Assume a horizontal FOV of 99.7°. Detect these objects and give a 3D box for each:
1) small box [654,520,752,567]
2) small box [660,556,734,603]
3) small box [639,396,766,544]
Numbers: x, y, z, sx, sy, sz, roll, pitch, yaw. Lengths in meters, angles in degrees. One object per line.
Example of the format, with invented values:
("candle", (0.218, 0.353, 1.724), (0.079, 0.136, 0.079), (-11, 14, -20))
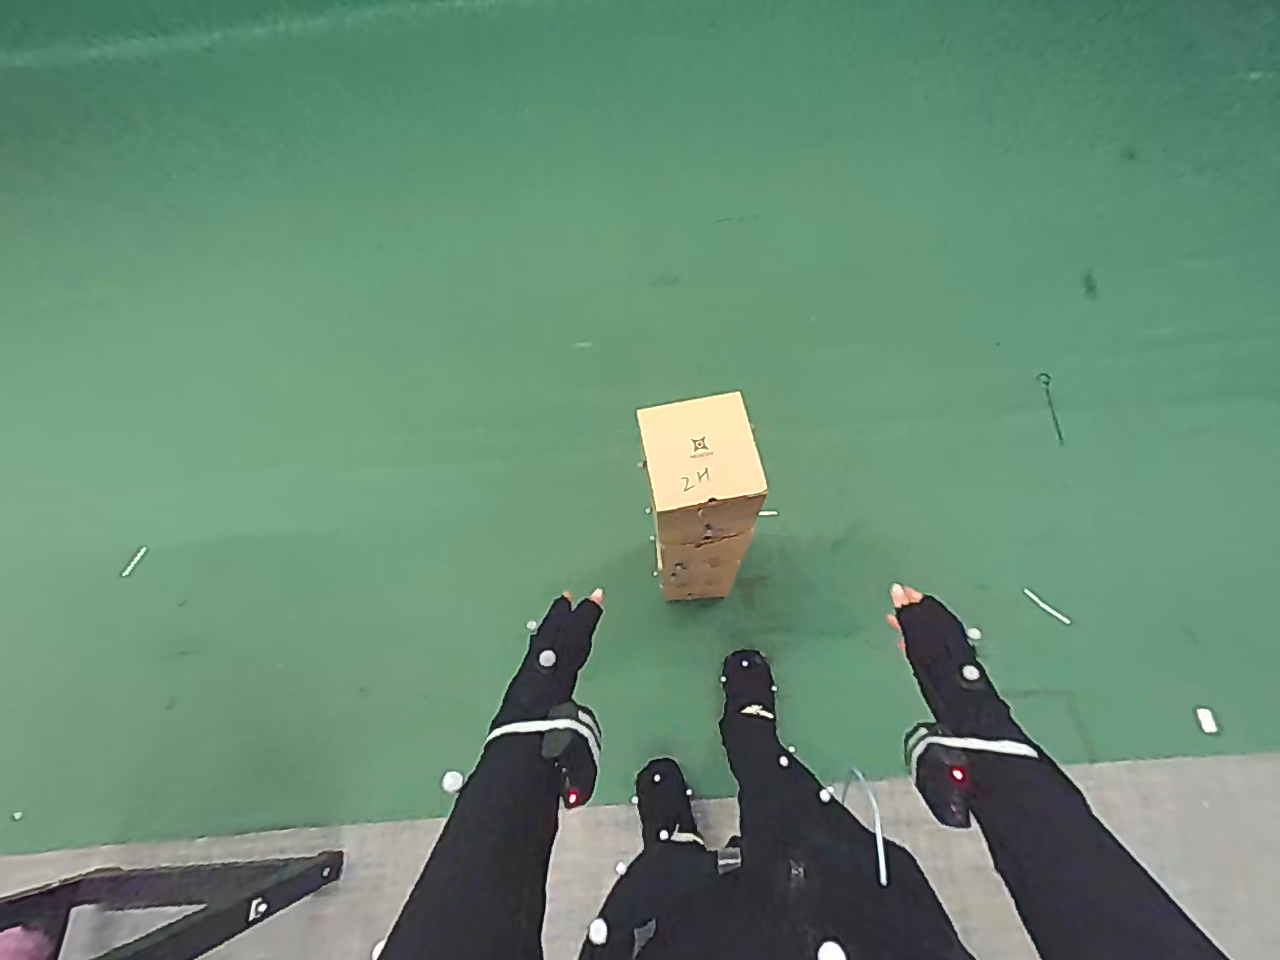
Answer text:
("small box", (0.109, 0.061, 1.036), (0.168, 0.176, 0.179), (-9, 66, 0))
("small box", (0.133, 0.197, 1.334), (0.168, 0.176, 0.179), (-5, 68, 2))
("small box", (0.095, -0.010, 0.888), (0.168, 0.176, 0.179), (-11, 67, 0))
